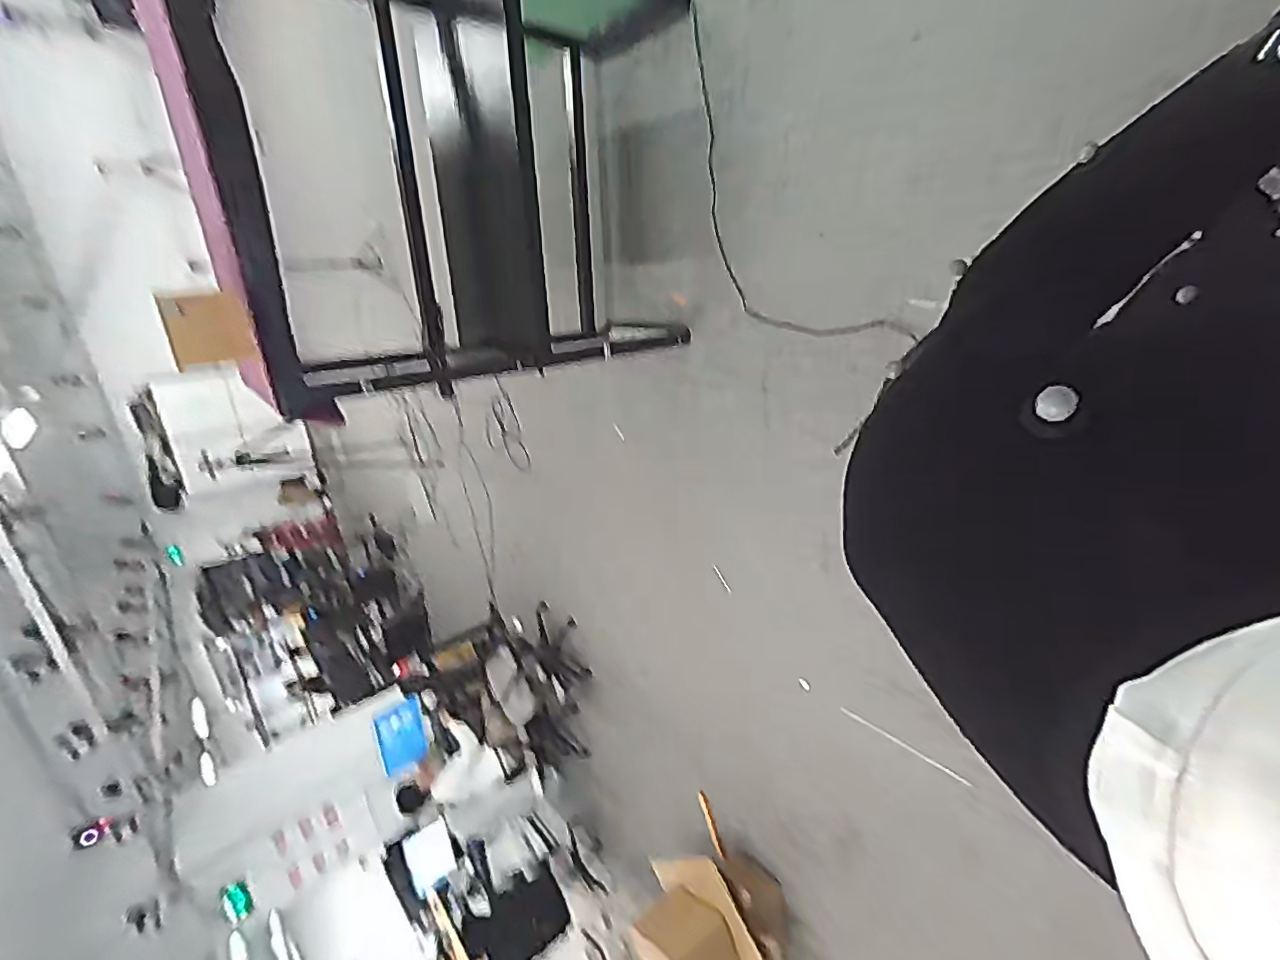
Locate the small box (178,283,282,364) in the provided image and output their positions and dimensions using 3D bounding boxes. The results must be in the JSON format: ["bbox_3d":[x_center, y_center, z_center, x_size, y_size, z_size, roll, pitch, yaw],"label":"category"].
[{"bbox_3d":[-1.016,-0.392,1.346,0.168,0.176,0.179,19,119,48],"label":"small box"}]
